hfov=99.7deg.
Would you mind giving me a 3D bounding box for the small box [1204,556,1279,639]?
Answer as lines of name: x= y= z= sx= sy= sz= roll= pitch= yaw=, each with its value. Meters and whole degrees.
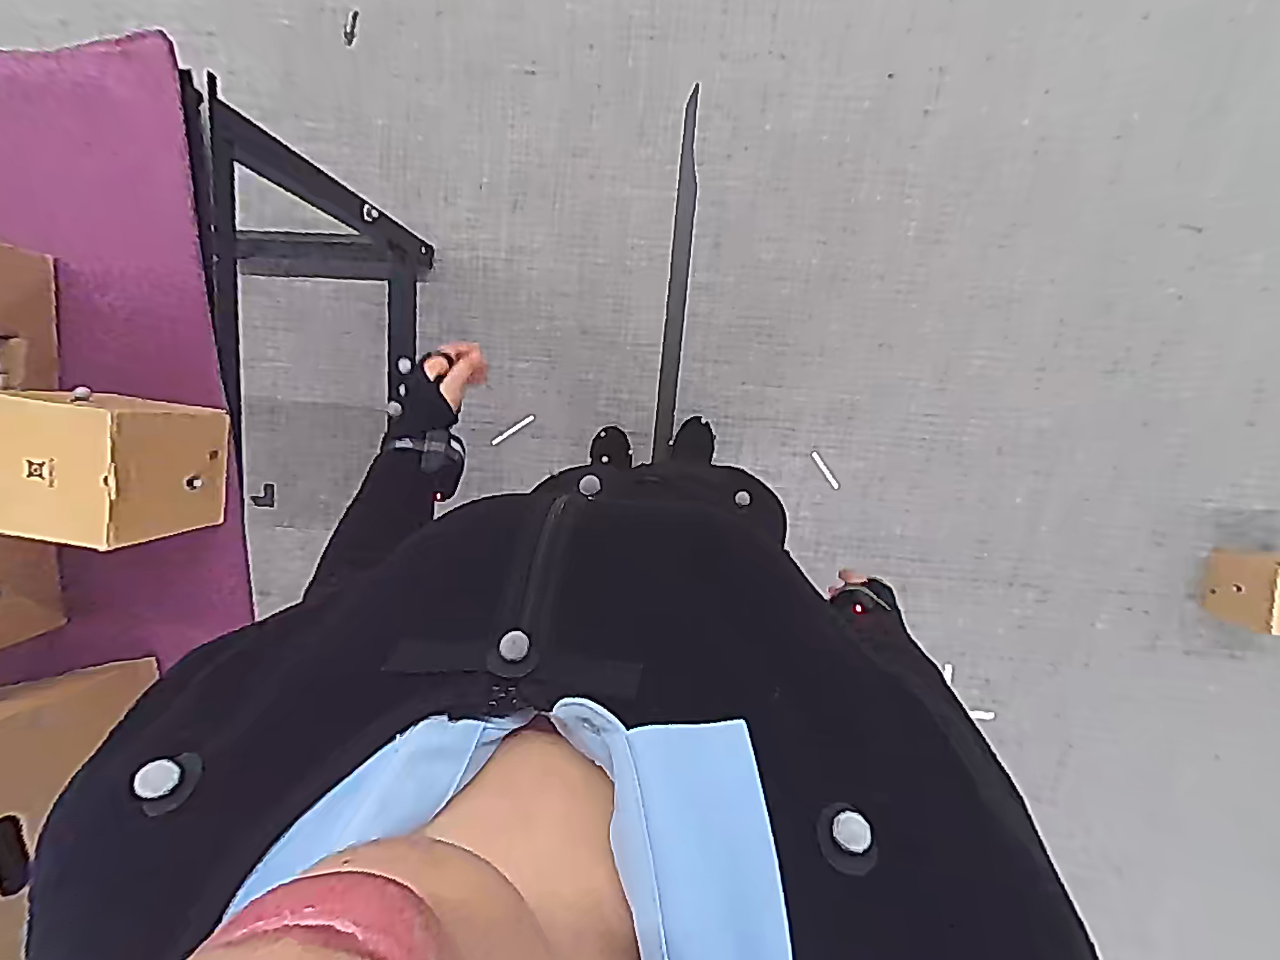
small box: x=1.588 y=0.293 z=1.357 sx=0.179 sy=0.176 sz=0.168 roll=1 pitch=97 yaw=2
